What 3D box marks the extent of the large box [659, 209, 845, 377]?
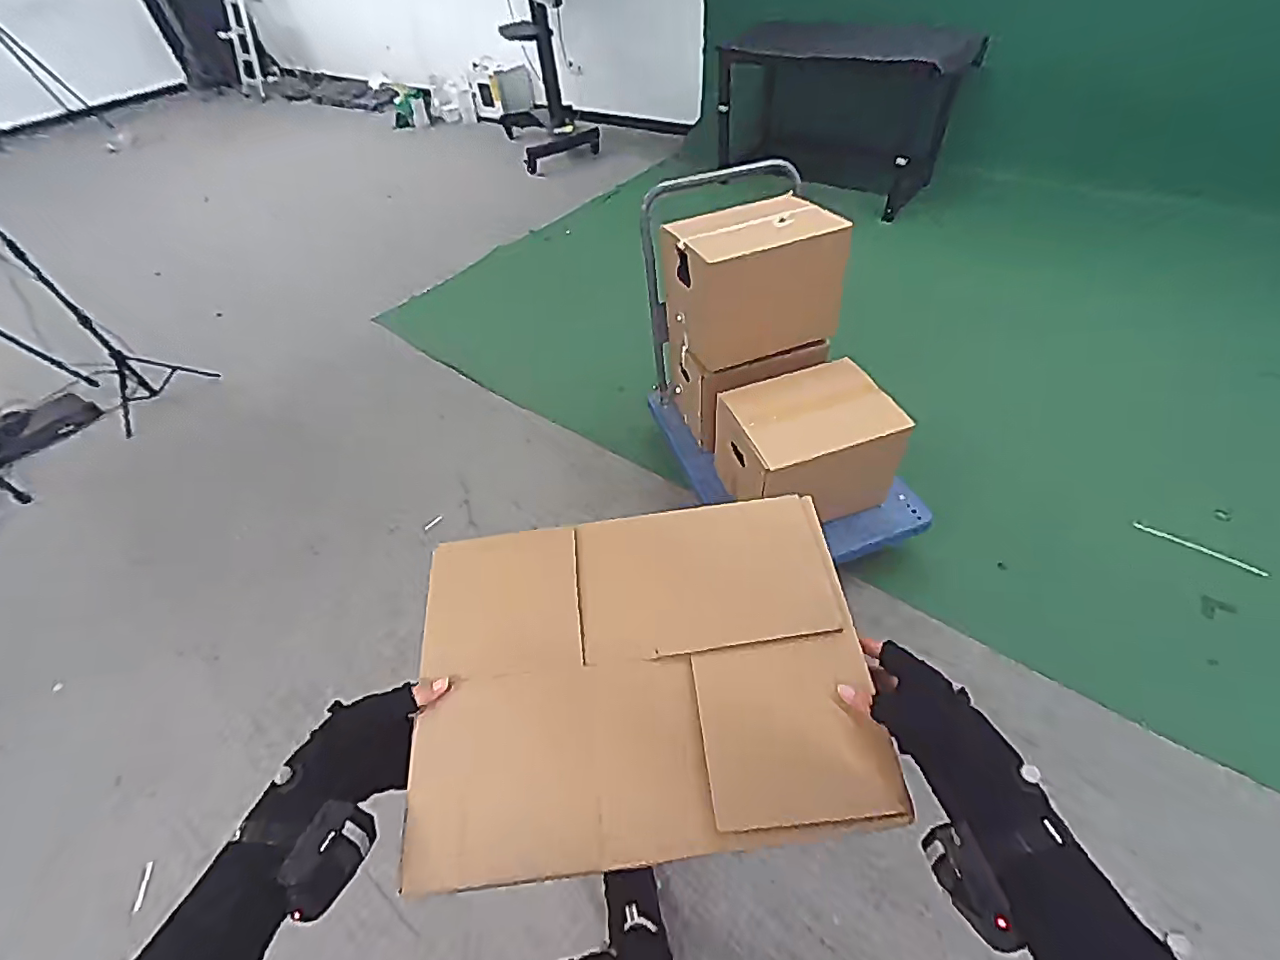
[{"bbox_3d":[0.301,-0.536,1.536,0.408,0.320,0.320,-18,44,-11],"label":"large box"}]
